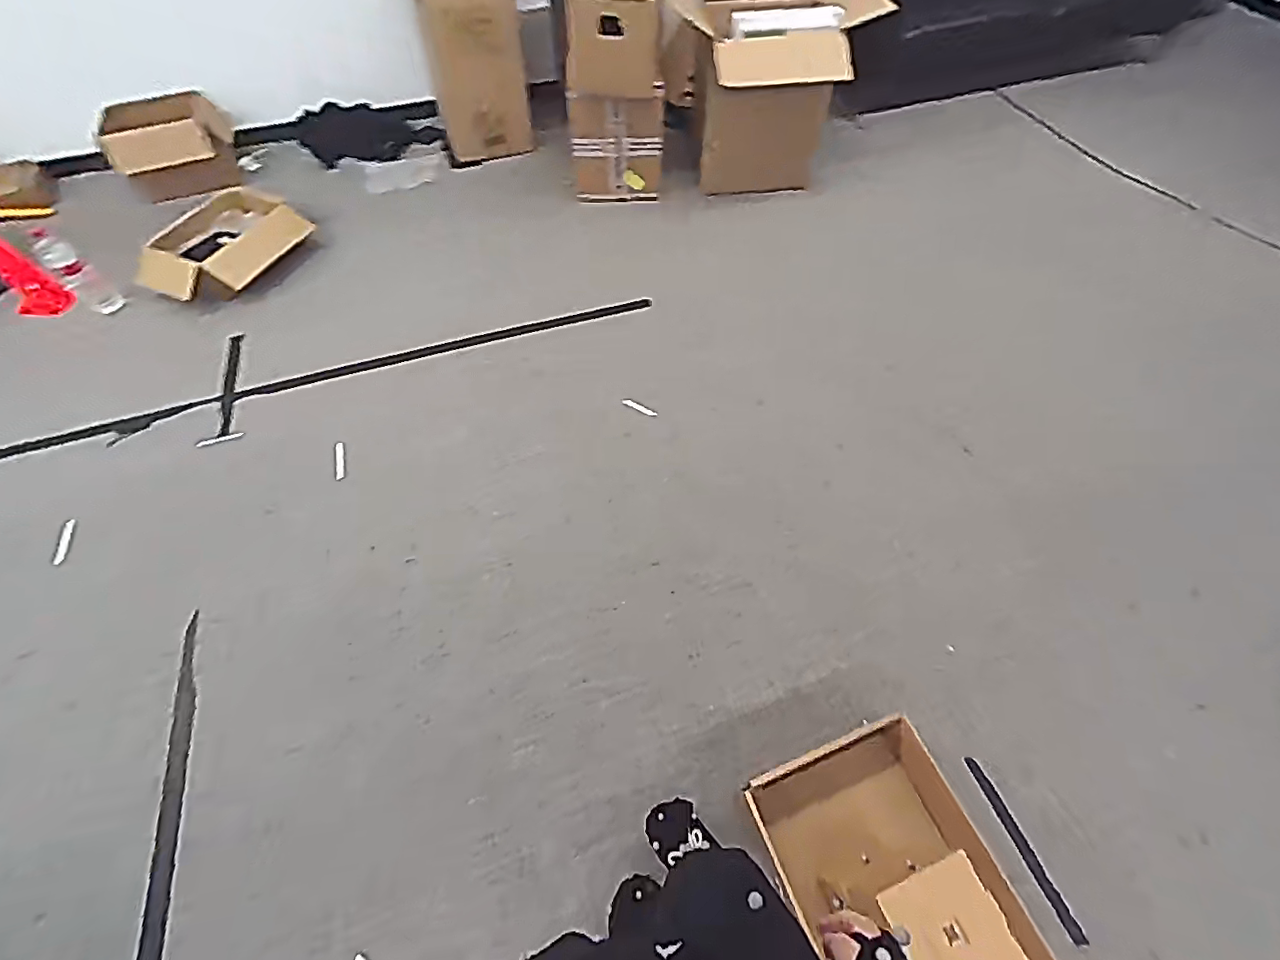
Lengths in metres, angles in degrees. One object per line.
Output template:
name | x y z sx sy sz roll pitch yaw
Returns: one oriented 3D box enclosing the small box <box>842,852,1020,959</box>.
small box | 0.476 0.752 0.910 0.179 0.176 0.168 -19 58 -12
